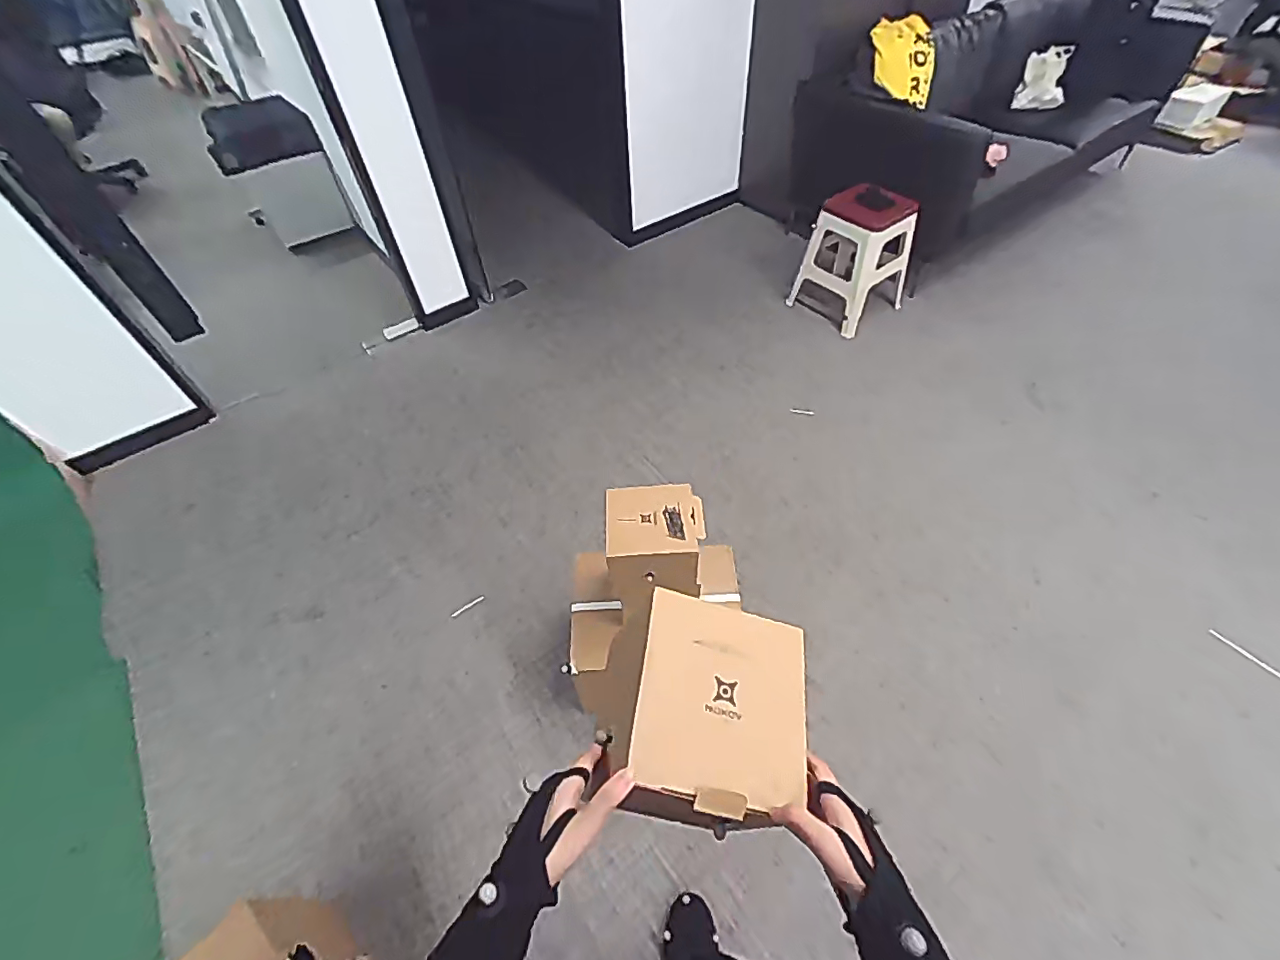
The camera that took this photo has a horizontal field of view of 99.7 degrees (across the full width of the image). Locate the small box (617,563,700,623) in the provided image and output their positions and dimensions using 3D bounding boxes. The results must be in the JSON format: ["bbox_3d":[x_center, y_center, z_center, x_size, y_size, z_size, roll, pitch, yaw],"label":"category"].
[{"bbox_3d":[0.032,0.219,1.242,0.179,0.176,0.168,-5,49,-3],"label":"small box"}]

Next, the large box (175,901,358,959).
[{"bbox_3d":[-0.716,1.029,0.922,0.320,0.320,0.408,31,60,26],"label":"large box"}]

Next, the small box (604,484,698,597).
[{"bbox_3d":[0.021,0.126,1.105,0.179,0.176,0.168,-3,50,1],"label":"small box"}]

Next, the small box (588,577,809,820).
[{"bbox_3d":[0.054,0.230,0.551,0.168,0.176,0.179,19,52,-10],"label":"small box"}]
